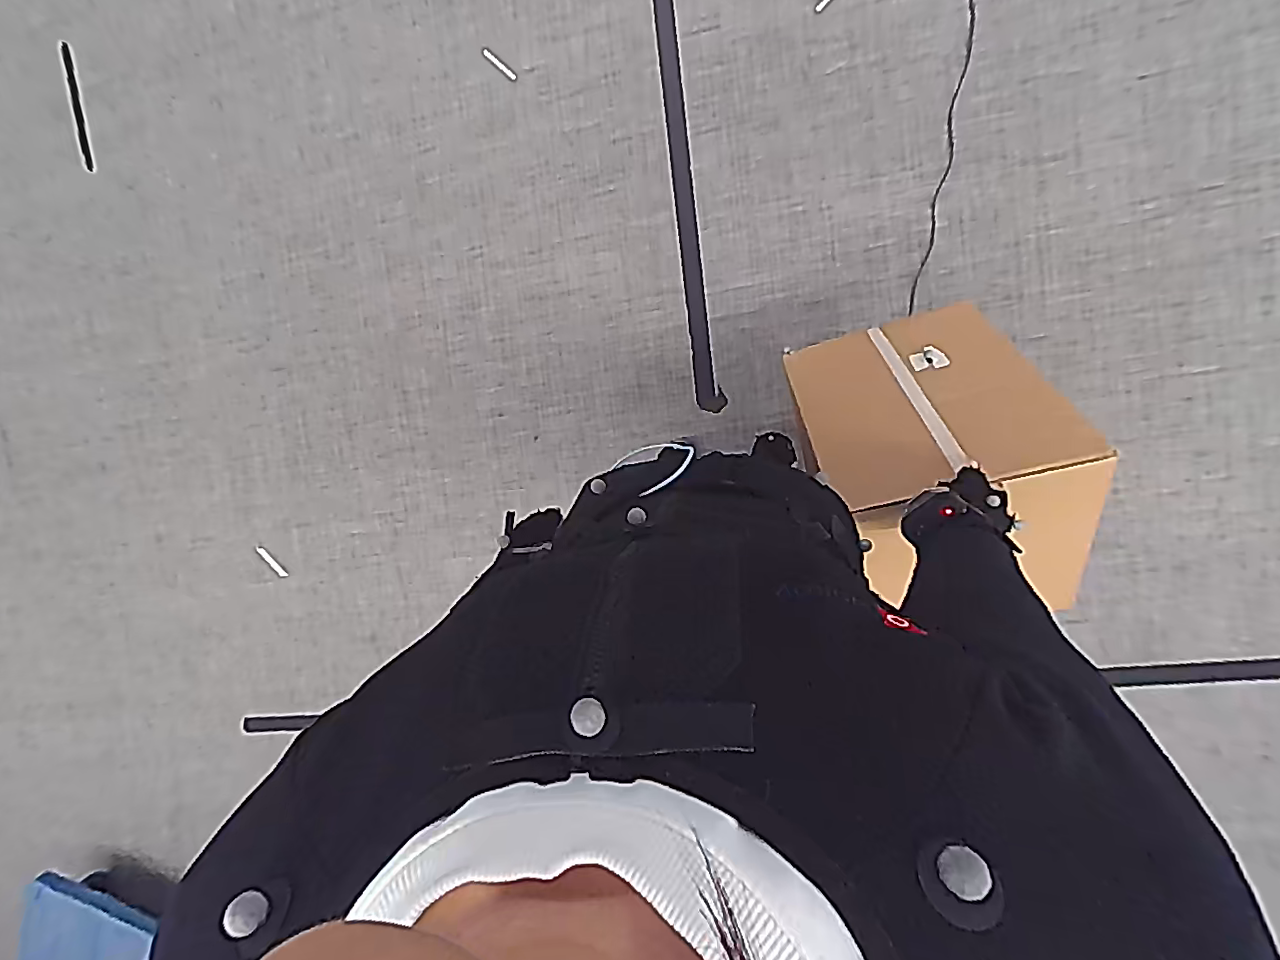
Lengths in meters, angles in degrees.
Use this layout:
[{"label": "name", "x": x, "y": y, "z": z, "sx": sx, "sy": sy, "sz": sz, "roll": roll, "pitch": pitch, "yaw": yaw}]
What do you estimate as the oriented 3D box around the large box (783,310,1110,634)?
[{"label": "large box", "x": 0.455, "y": -0.018, "z": 0.898, "sx": 0.320, "sy": 0.408, "sz": 0.320, "roll": -14, "pitch": 130, "yaw": 12}]
